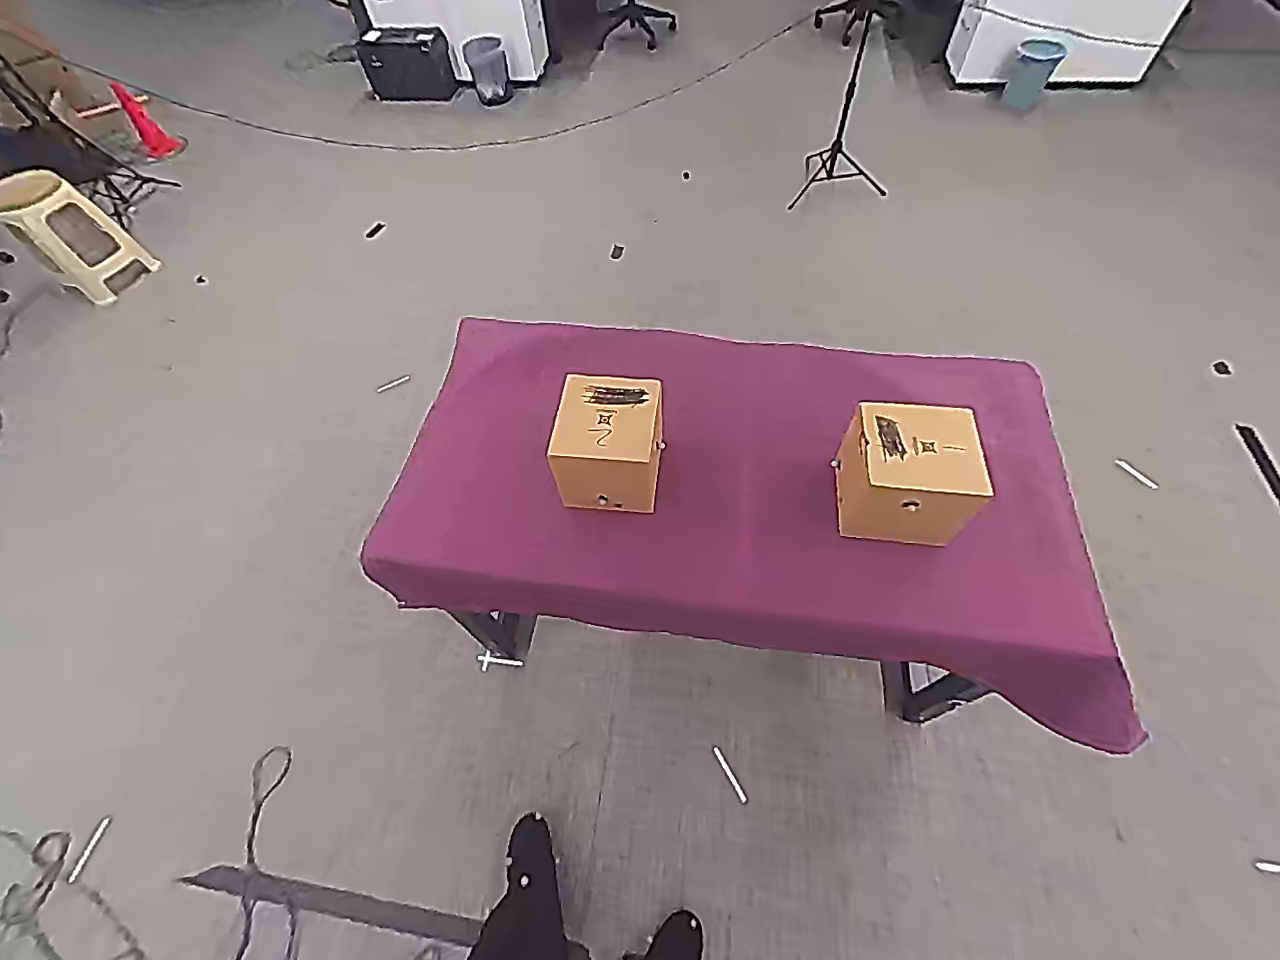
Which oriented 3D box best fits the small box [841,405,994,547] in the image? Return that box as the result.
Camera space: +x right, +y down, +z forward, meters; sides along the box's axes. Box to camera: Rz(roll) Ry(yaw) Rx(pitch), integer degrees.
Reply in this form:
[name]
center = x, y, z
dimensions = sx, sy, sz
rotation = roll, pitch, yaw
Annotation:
[small box]
center = 0.438, -0.003, 0.892
dimensions = 0.179, 0.176, 0.168
rotation = 6, 58, 7
